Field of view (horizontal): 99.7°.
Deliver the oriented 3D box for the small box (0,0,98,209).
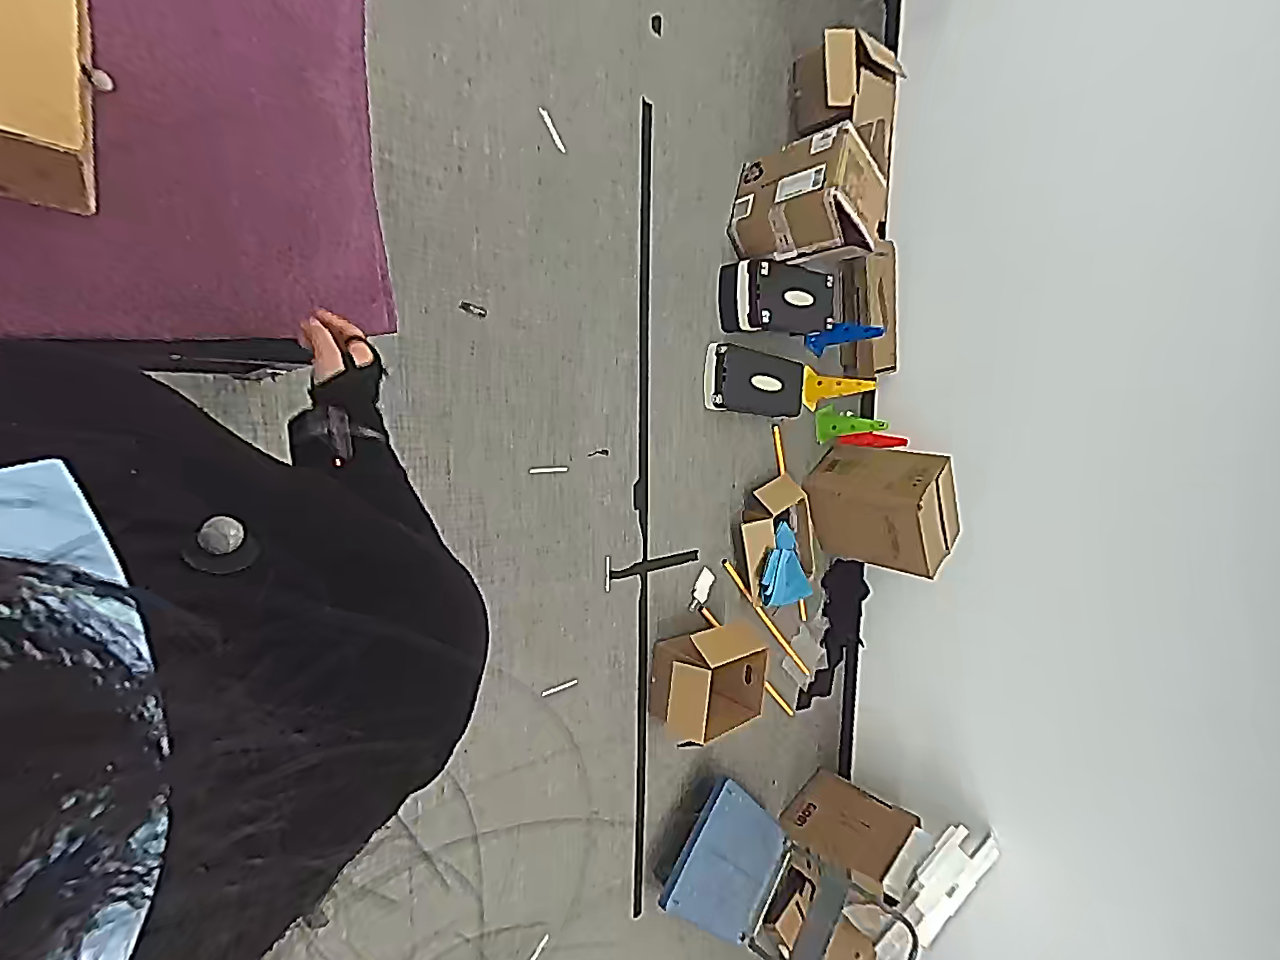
[{"bbox_3d":[-0.547,-0.347,0.425,0.168,0.176,0.179,-2,96,-44],"label":"small box"}]
